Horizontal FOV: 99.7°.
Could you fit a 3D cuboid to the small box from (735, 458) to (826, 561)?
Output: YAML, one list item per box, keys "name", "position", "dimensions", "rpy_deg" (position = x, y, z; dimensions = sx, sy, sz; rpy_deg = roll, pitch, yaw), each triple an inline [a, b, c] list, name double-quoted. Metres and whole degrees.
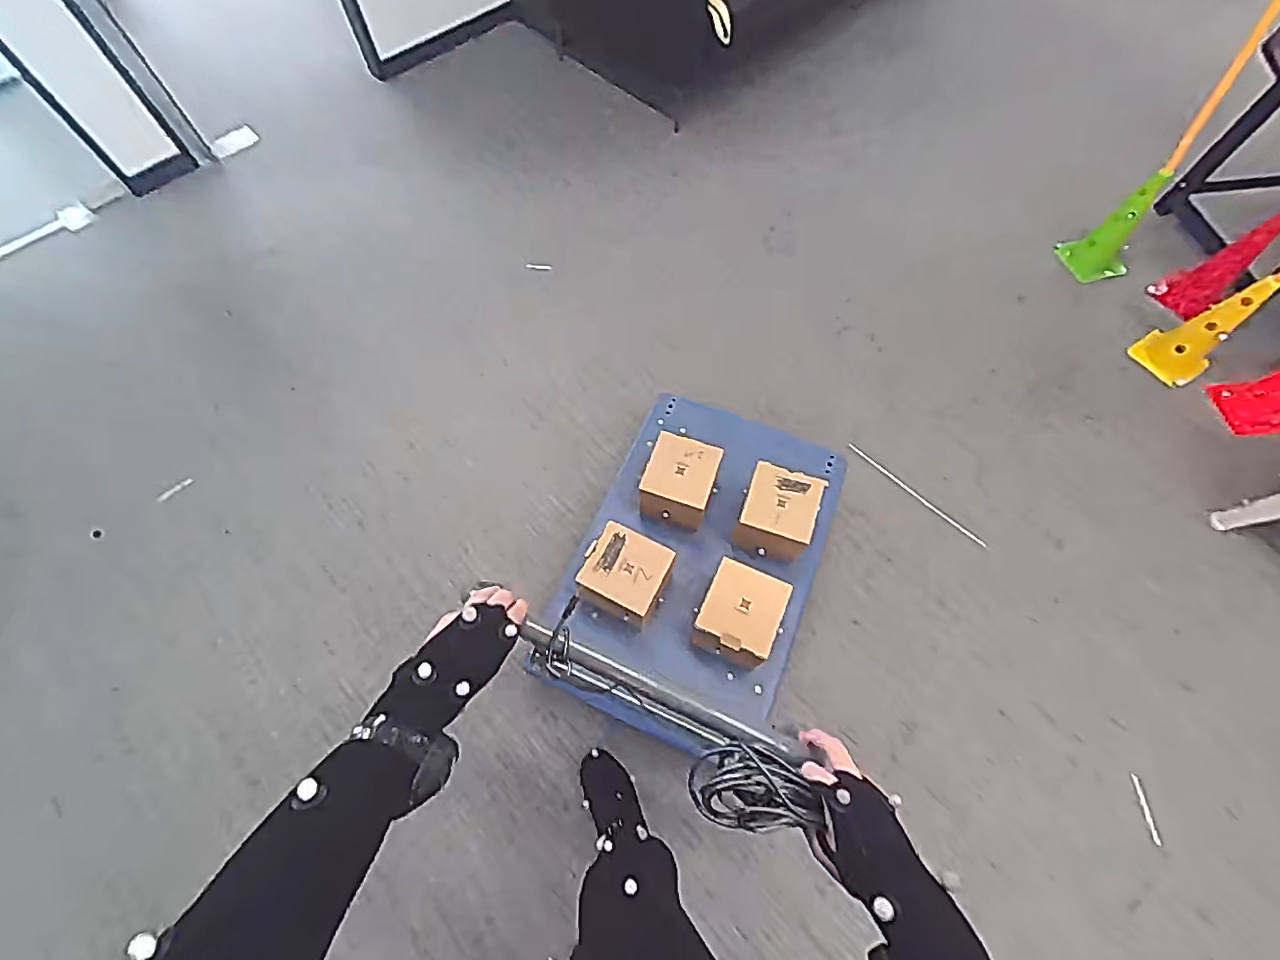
- name: "small box"
  position: [0.343, 0.077, 1.345]
  dimensions: [0.168, 0.176, 0.179]
  rpy_deg: [18, 67, 10]

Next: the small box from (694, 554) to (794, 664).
- name: "small box"
  position: [0.231, 0.300, 1.241]
  dimensions: [0.168, 0.176, 0.179]
  rpy_deg: [23, 68, 12]

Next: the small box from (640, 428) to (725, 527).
- name: "small box"
  position: [0.107, 0.000, 1.387]
  dimensions: [0.168, 0.176, 0.179]
  rpy_deg: [19, 66, 9]
